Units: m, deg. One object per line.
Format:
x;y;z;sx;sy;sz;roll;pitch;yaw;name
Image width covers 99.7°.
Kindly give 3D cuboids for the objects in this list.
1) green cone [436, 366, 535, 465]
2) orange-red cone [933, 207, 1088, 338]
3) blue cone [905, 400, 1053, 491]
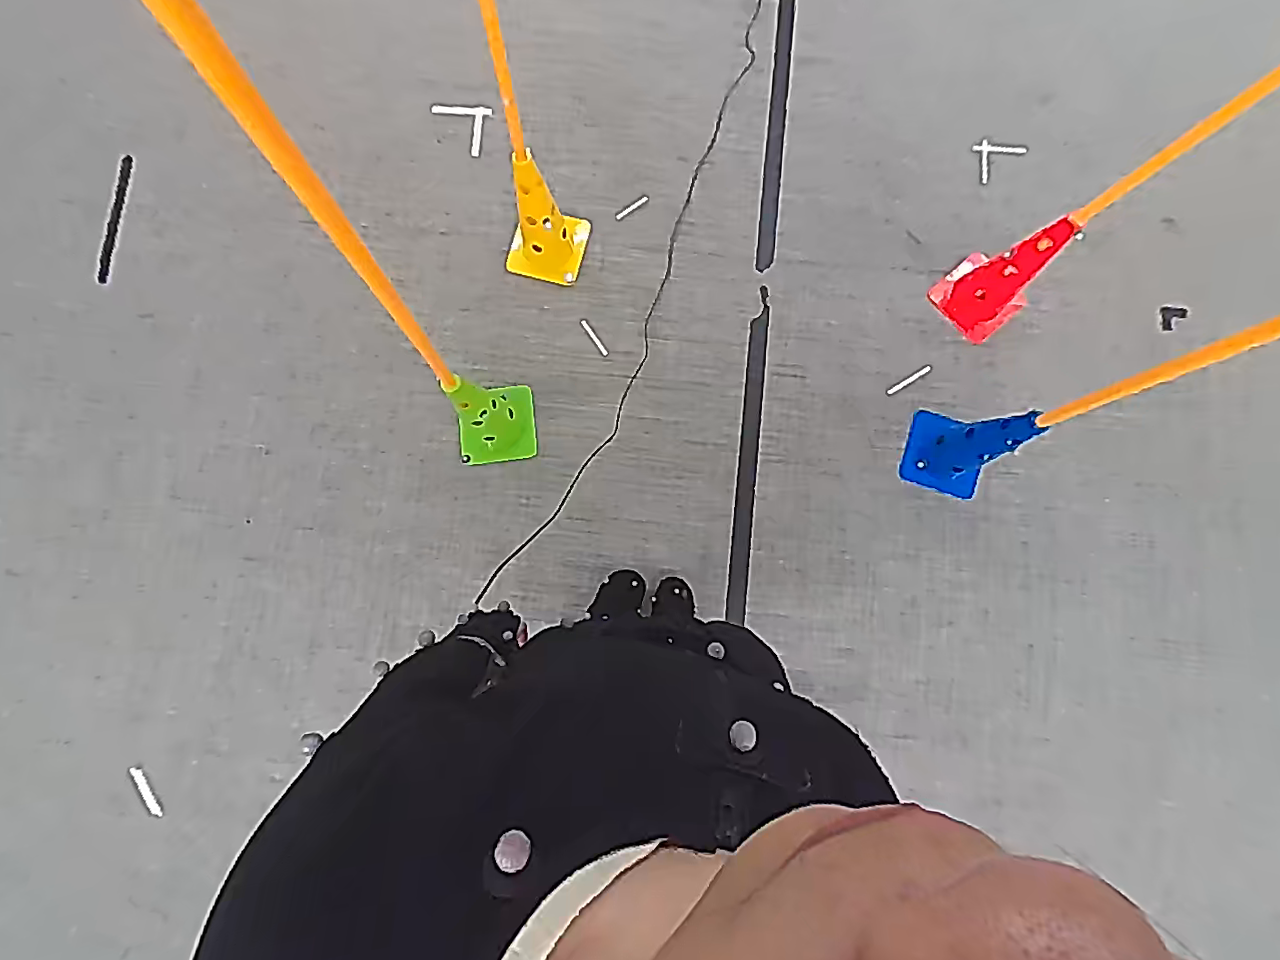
-0.380;-0.174;1.249;0.200;0.368;0.202;-8;80;-1;green cone
0.920;-0.527;1.299;0.199;0.360;0.198;-39;83;-4;orange-red cone
0.799;-0.102;1.252;0.193;0.380;0.192;20;81;3;blue cone
